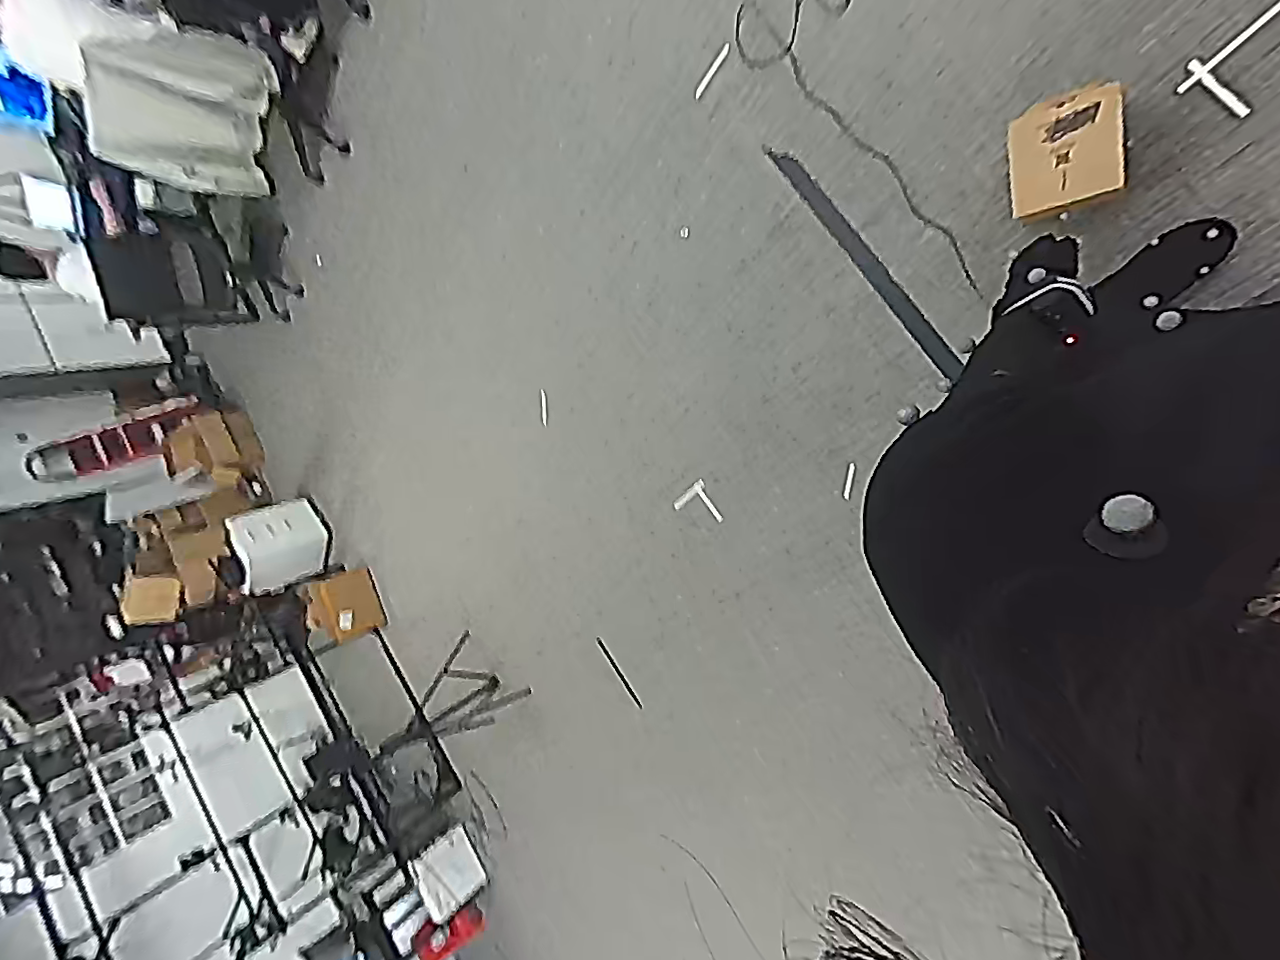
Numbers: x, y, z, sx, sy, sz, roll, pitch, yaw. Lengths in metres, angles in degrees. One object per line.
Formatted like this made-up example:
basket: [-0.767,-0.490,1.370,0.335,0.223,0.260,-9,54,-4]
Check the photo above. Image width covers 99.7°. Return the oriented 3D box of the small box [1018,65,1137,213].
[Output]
small box: [0.827,-0.629,1.024,0.168,0.176,0.179,-2,105,42]
